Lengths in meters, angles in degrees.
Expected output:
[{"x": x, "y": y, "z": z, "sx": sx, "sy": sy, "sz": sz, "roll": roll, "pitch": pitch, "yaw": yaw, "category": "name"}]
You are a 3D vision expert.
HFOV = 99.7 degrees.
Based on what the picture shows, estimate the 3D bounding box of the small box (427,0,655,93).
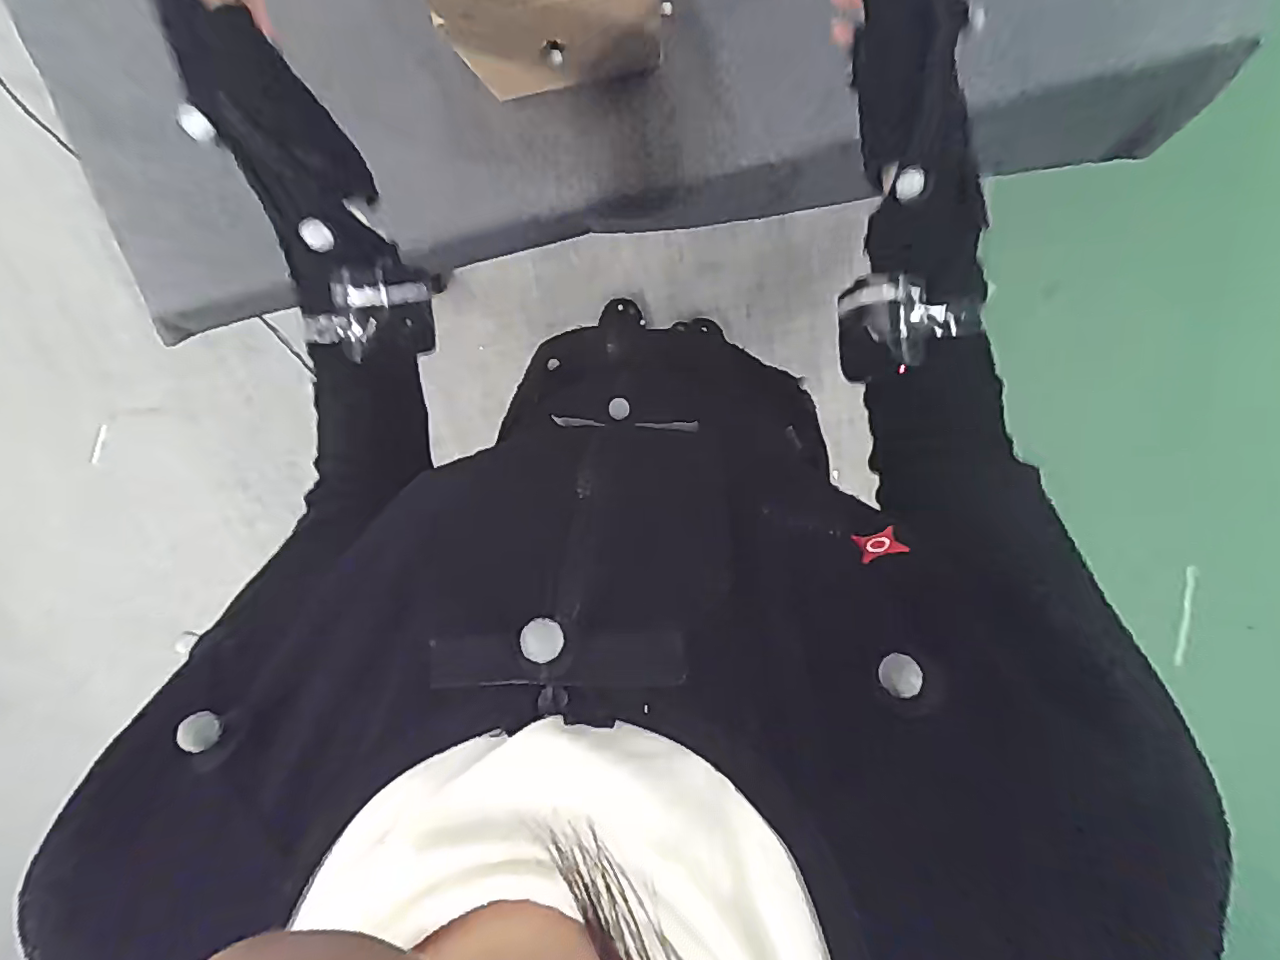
[{"x": -0.082, "y": -0.462, "z": 0.455, "sx": 0.179, "sy": 0.176, "sz": 0.168, "roll": -8, "pitch": 108, "yaw": 7, "category": "small box"}]
